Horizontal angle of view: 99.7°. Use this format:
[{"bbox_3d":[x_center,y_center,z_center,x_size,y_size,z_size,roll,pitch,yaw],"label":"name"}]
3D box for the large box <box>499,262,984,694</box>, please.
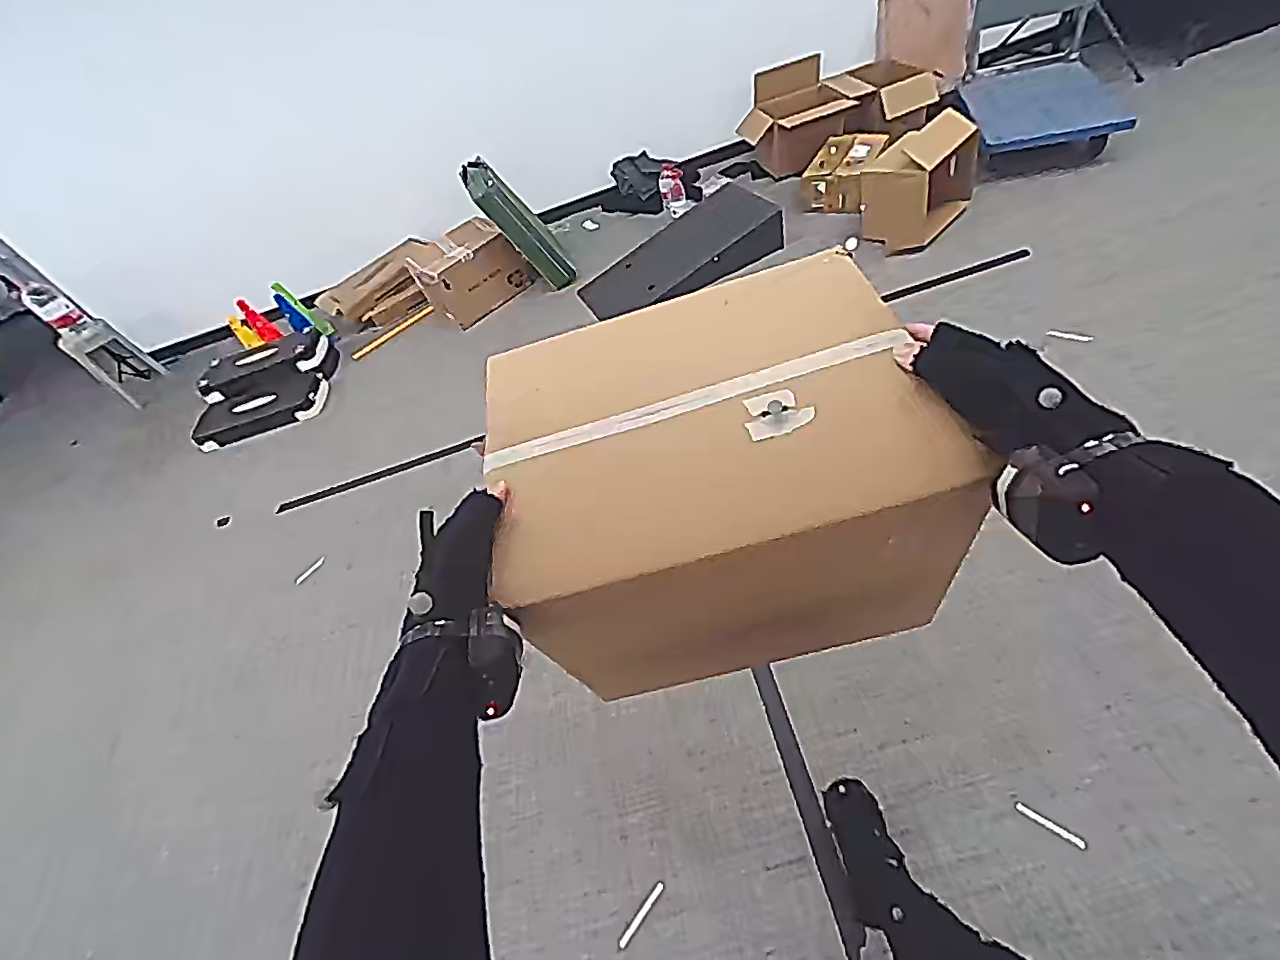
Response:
[{"bbox_3d":[0.085,0.016,0.638,0.408,0.320,0.320,-16,54,4],"label":"large box"}]
